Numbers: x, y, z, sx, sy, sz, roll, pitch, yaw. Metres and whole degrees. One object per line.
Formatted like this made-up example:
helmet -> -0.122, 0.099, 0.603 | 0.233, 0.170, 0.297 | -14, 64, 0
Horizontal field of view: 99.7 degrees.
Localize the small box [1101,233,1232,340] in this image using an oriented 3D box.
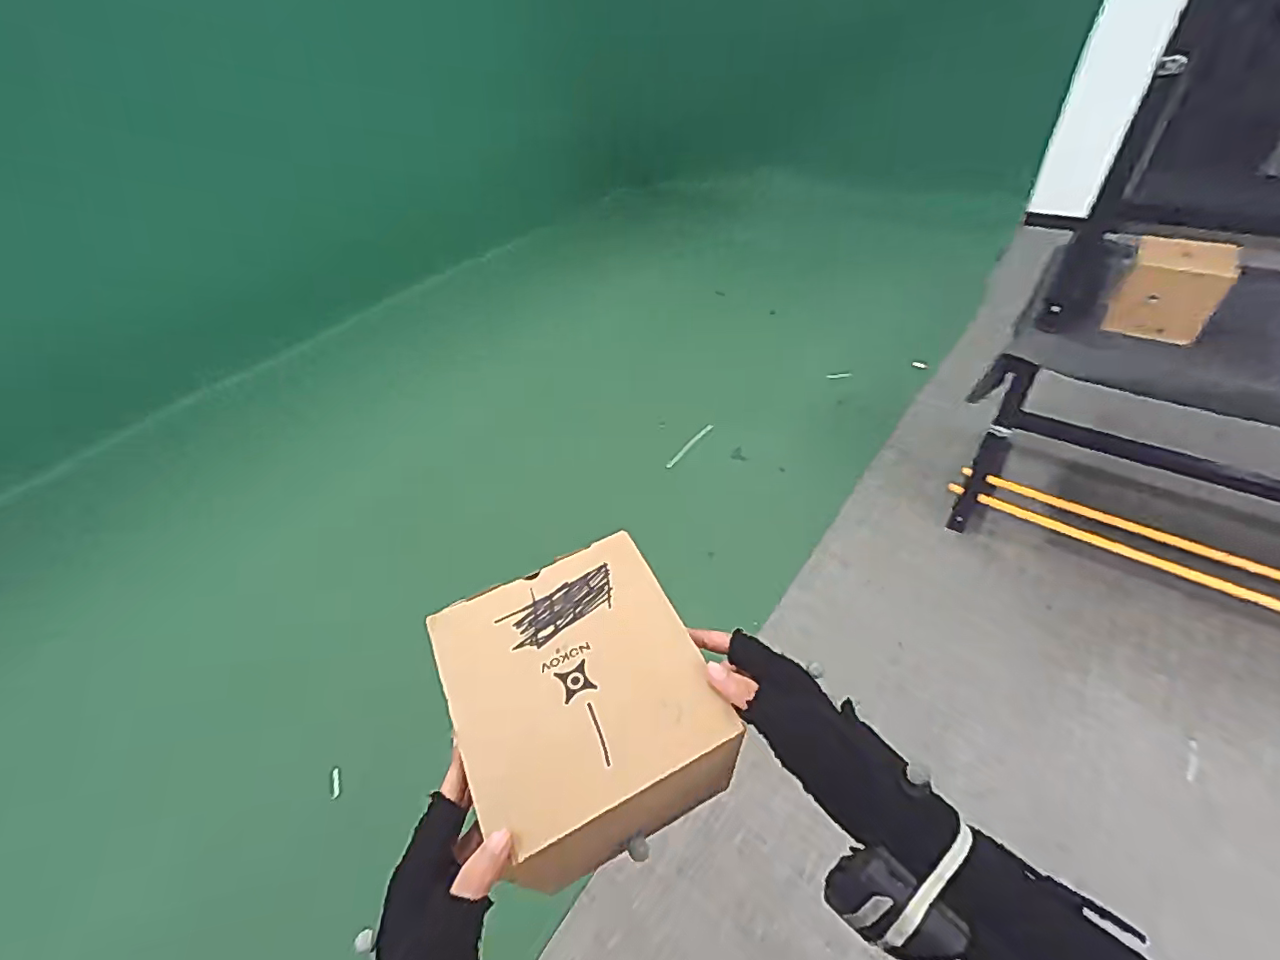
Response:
small box -> 1.209, -0.447, 1.250 | 0.168, 0.176, 0.179 | 23, 52, 28
